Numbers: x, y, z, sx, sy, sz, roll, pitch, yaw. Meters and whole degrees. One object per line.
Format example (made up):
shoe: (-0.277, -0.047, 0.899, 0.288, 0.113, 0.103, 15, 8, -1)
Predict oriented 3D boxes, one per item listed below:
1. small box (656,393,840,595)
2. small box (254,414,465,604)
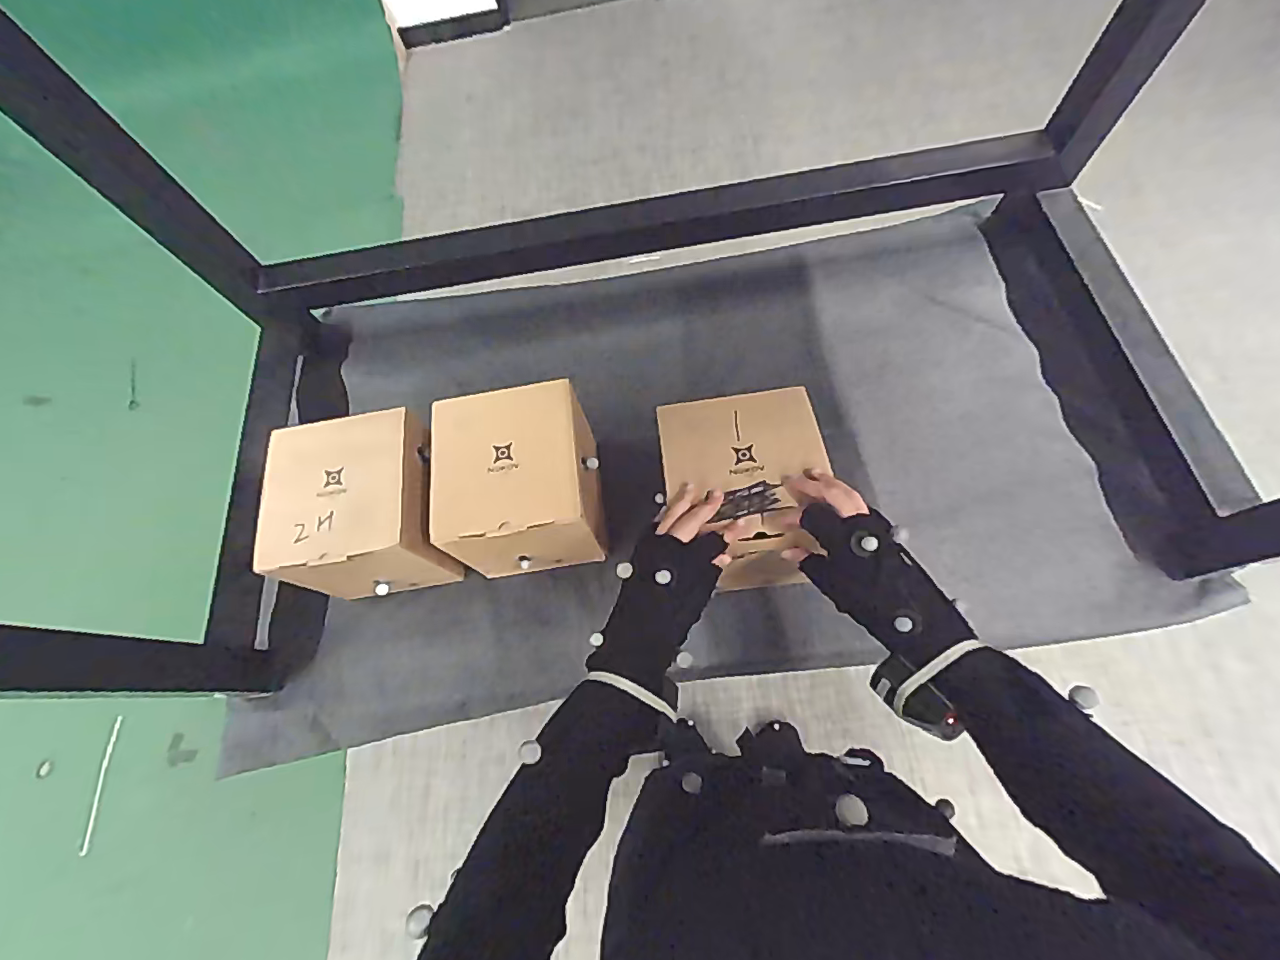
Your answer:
small box: (0.114, 0.027, 0.625, 0.168, 0.176, 0.179, -8, 63, 4)
small box: (-0.331, 0.044, 0.677, 0.168, 0.176, 0.179, -10, 66, 3)
